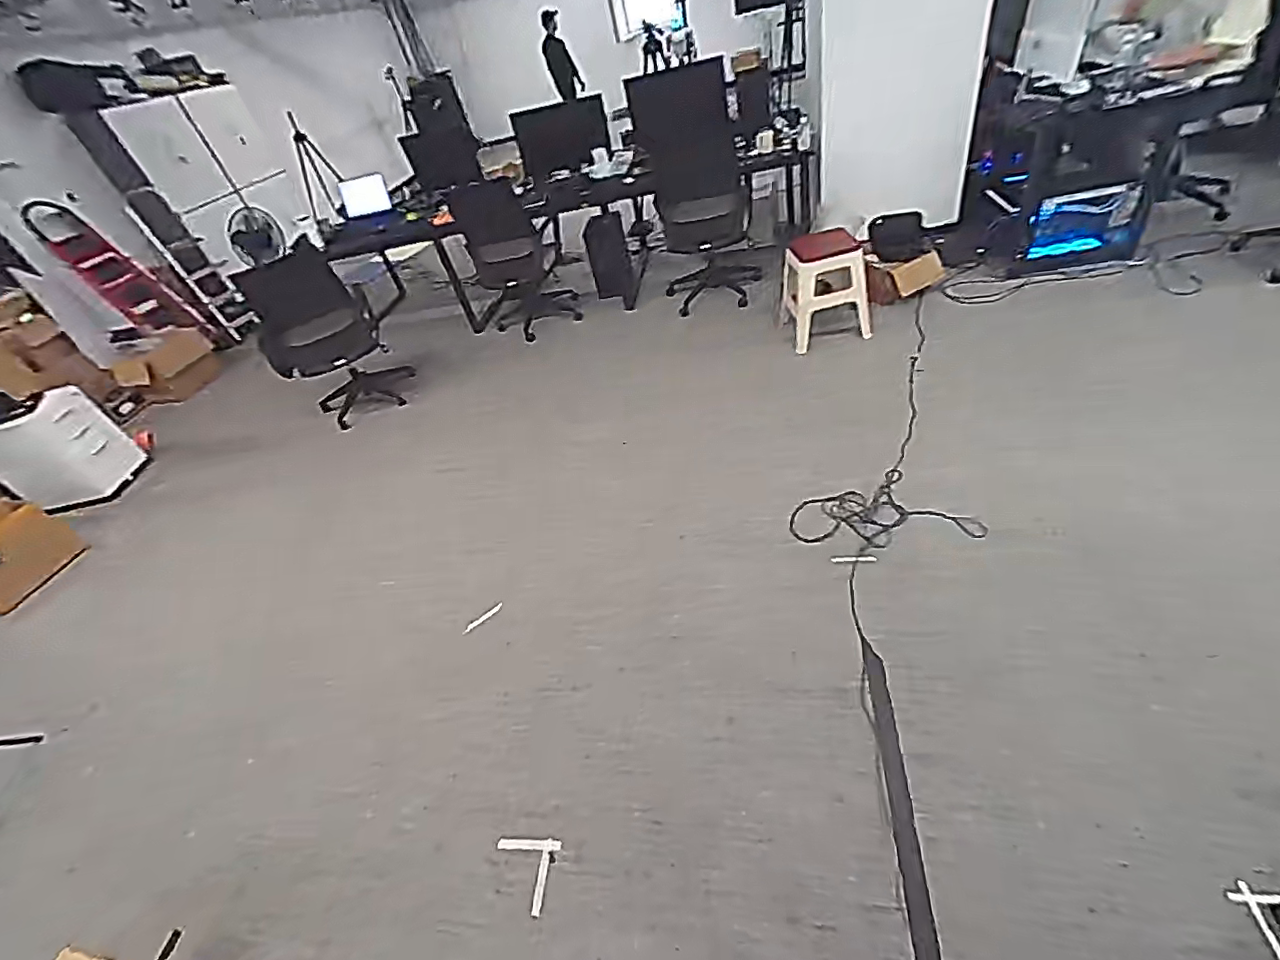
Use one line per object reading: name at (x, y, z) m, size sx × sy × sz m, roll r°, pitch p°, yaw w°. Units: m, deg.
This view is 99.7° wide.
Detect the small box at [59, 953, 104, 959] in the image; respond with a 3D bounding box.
small box at (-1.136, 1.113, 1.115) m, size 0.179 × 0.176 × 0.168 m, roll -3°, pitch 42°, yaw 18°
